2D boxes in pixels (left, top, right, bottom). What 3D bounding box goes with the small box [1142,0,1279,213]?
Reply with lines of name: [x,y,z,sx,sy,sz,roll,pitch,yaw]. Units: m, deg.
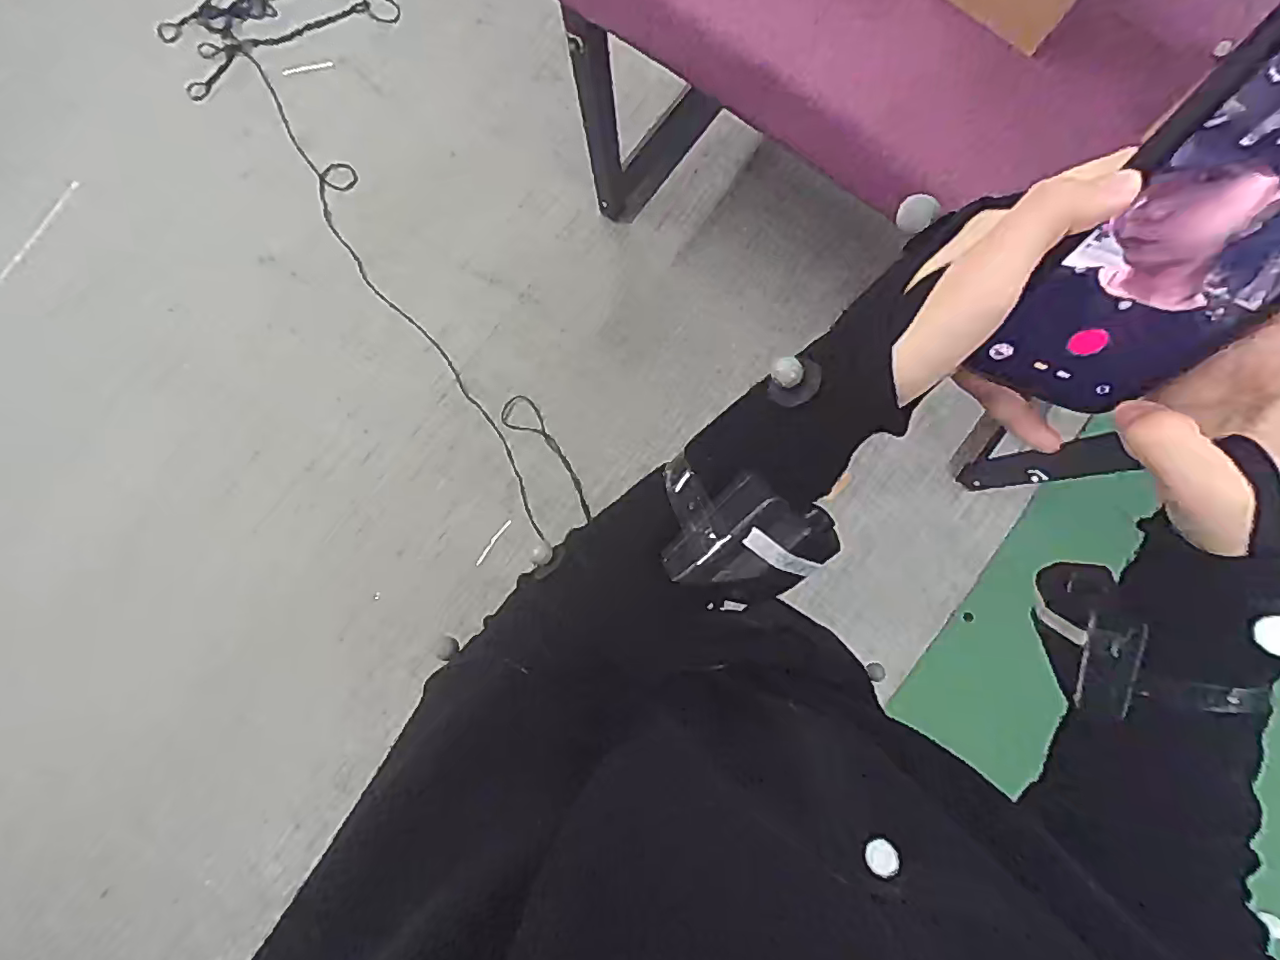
small box: [0.700,-0.412,0.554,0.168,0.176,0.179,-44,85,-2]

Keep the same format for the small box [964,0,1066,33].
small box: [0.448,-0.641,0.579,0.179,0.176,0.168,40,88,4]
